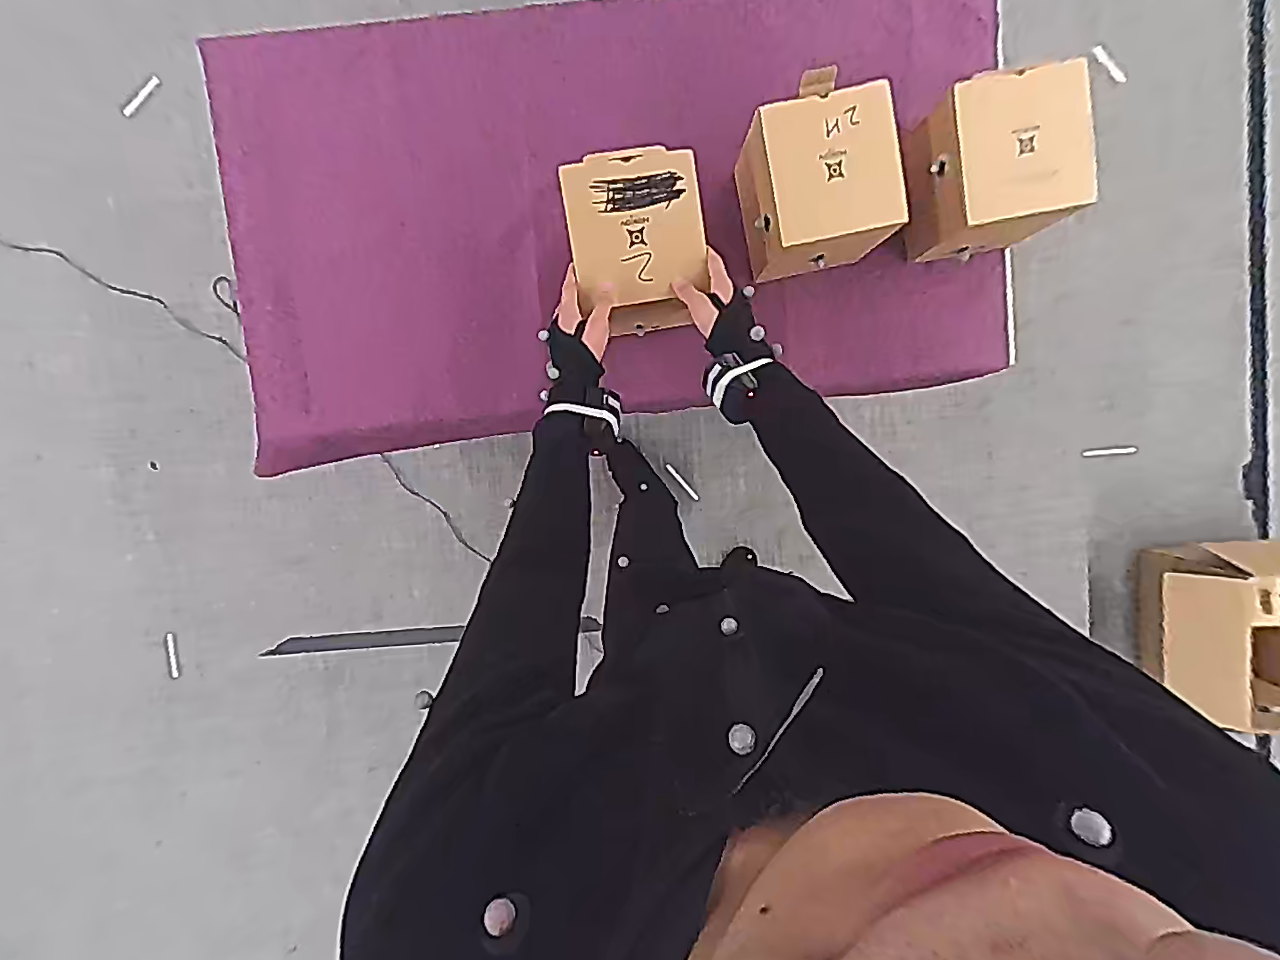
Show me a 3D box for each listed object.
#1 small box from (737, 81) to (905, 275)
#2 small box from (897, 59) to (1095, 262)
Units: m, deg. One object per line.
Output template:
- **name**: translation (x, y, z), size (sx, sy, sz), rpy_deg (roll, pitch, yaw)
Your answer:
- **small box**: translation (0.241, -0.402, 0.757), size (0.168, 0.176, 0.179), rpy_deg (-11, 95, 1)
- **small box**: translation (0.479, -0.429, 0.755), size (0.168, 0.176, 0.179), rpy_deg (-9, 94, 2)
